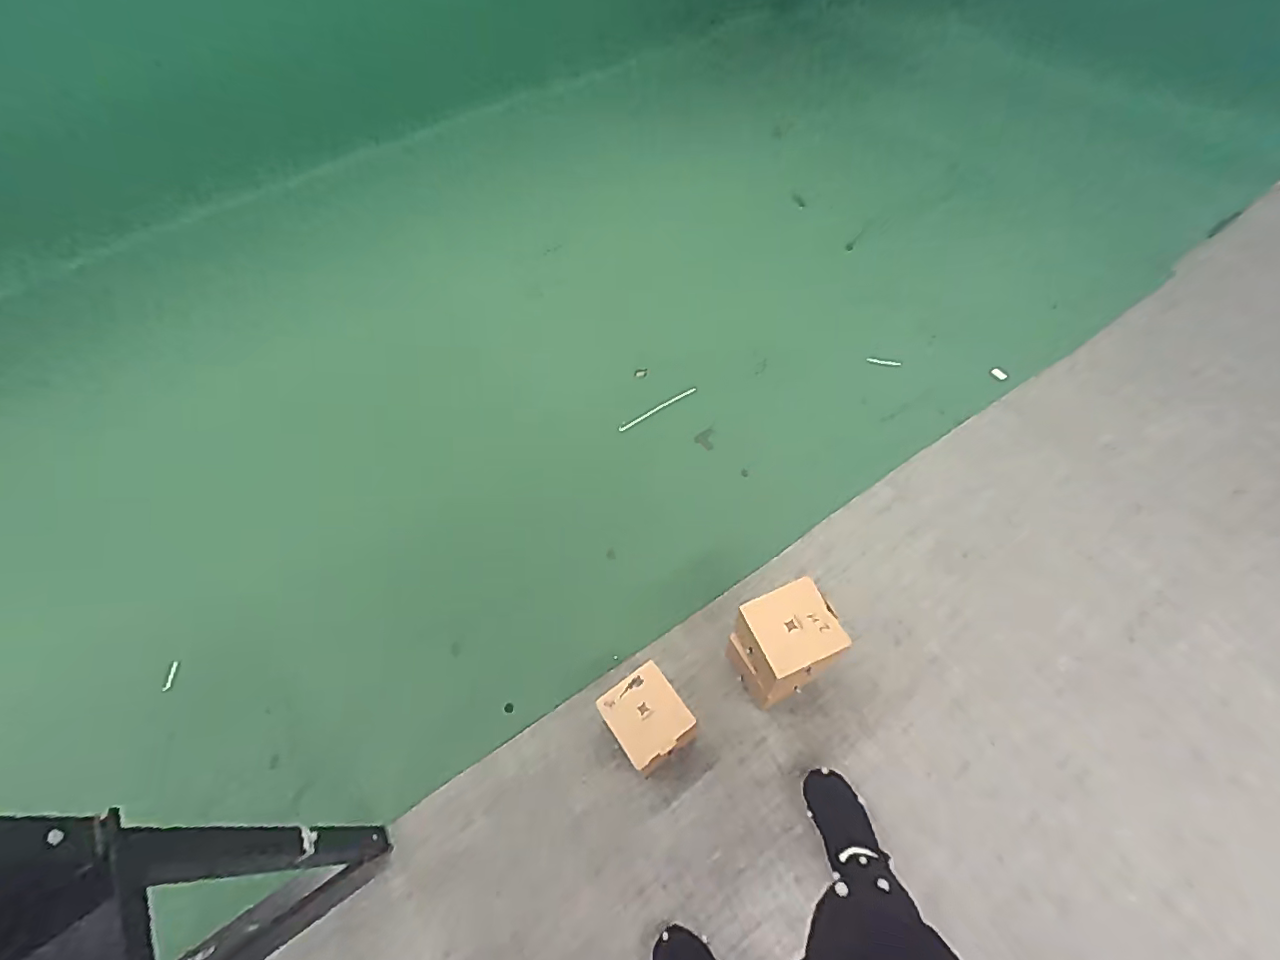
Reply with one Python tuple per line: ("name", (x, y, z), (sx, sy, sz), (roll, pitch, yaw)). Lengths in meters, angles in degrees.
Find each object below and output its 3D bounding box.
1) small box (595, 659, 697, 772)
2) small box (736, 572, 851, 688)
("small box", (0.019, 0.553, 1.261), (0.168, 0.176, 0.179), (-33, 60, -15))
("small box", (0.321, 0.332, 1.177), (0.179, 0.176, 0.168), (-22, 59, -9))
